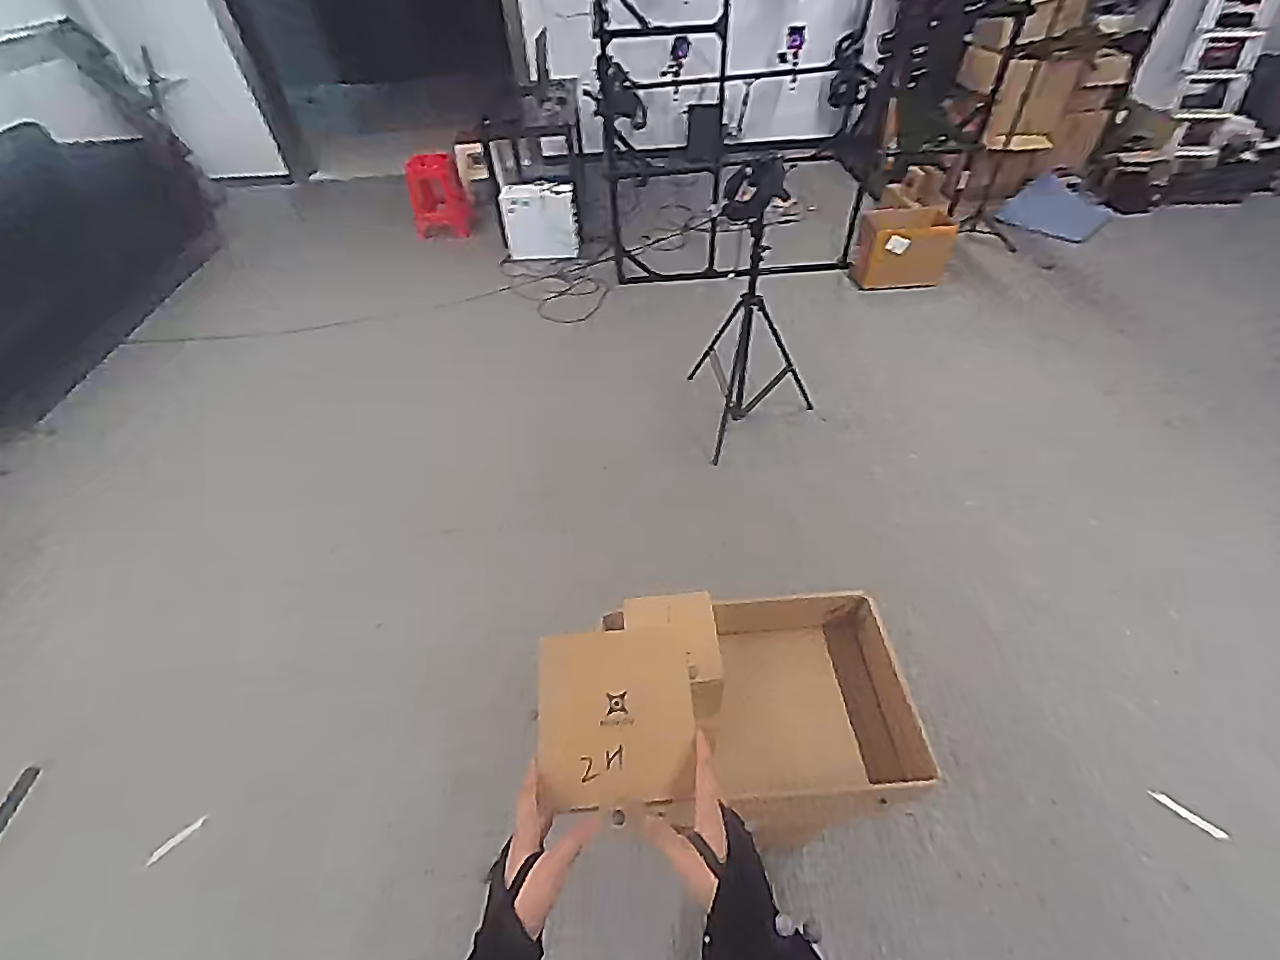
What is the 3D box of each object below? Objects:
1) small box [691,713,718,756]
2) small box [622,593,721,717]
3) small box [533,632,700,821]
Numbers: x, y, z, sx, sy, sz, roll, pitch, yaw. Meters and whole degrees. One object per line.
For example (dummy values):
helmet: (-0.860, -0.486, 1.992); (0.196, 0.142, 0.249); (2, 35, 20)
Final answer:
small box: (0.064, 0.459, 1.125); (0.168, 0.176, 0.179); (-6, 47, -1)
small box: (0.057, 0.337, 1.015); (0.168, 0.176, 0.179); (-5, 46, -1)
small box: (-0.033, 0.291, 0.633); (0.168, 0.176, 0.179); (-2, 59, -5)
